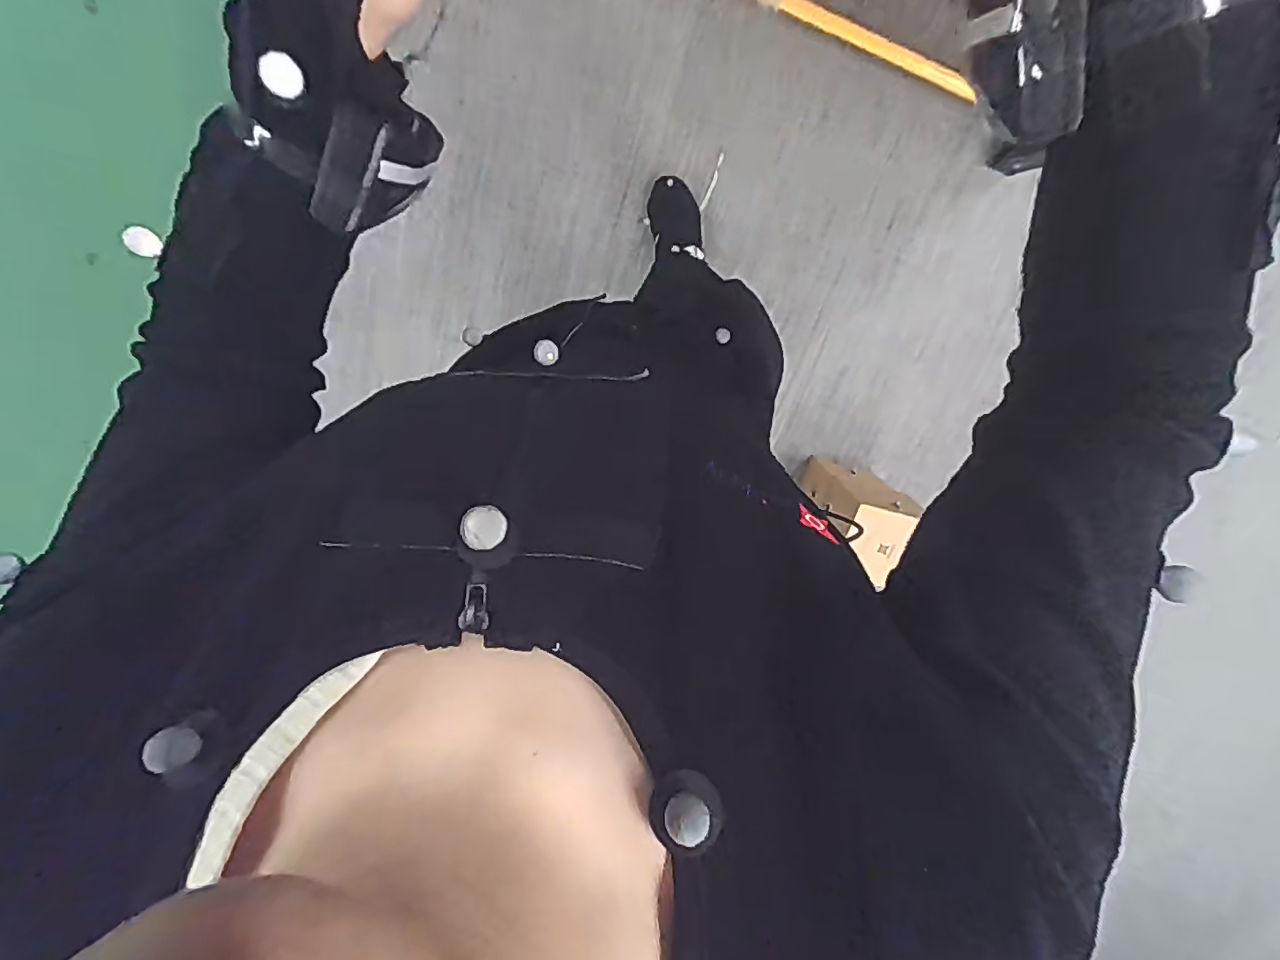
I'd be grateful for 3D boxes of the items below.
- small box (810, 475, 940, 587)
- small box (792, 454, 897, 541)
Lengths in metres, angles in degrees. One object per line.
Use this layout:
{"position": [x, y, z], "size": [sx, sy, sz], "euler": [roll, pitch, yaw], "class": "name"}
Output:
{"position": [0.497, 0.103, 1.172], "size": [0.179, 0.176, 0.168], "euler": [14, 110, -4], "class": "small box"}
{"position": [0.491, 0.052, 1.328], "size": [0.168, 0.176, 0.179], "euler": [14, 110, -4], "class": "small box"}
